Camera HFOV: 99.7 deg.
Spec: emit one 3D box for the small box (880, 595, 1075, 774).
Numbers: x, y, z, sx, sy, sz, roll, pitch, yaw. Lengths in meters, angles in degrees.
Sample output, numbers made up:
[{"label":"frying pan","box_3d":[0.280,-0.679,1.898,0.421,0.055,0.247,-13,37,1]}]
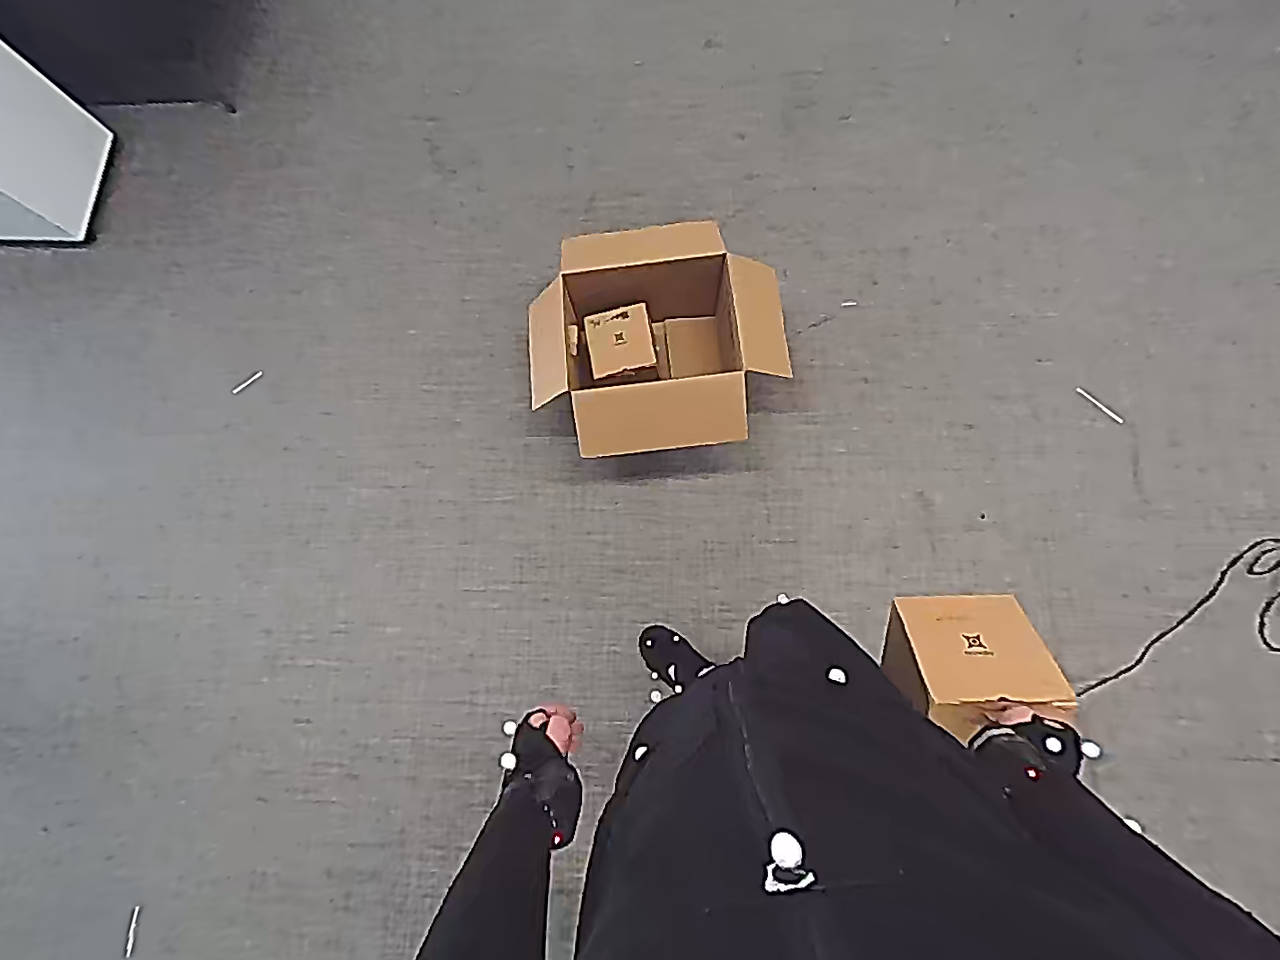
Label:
[{"label":"small box","box_3d":[0.449,0.284,0.754,0.168,0.176,0.179,-3,33,8]}]
